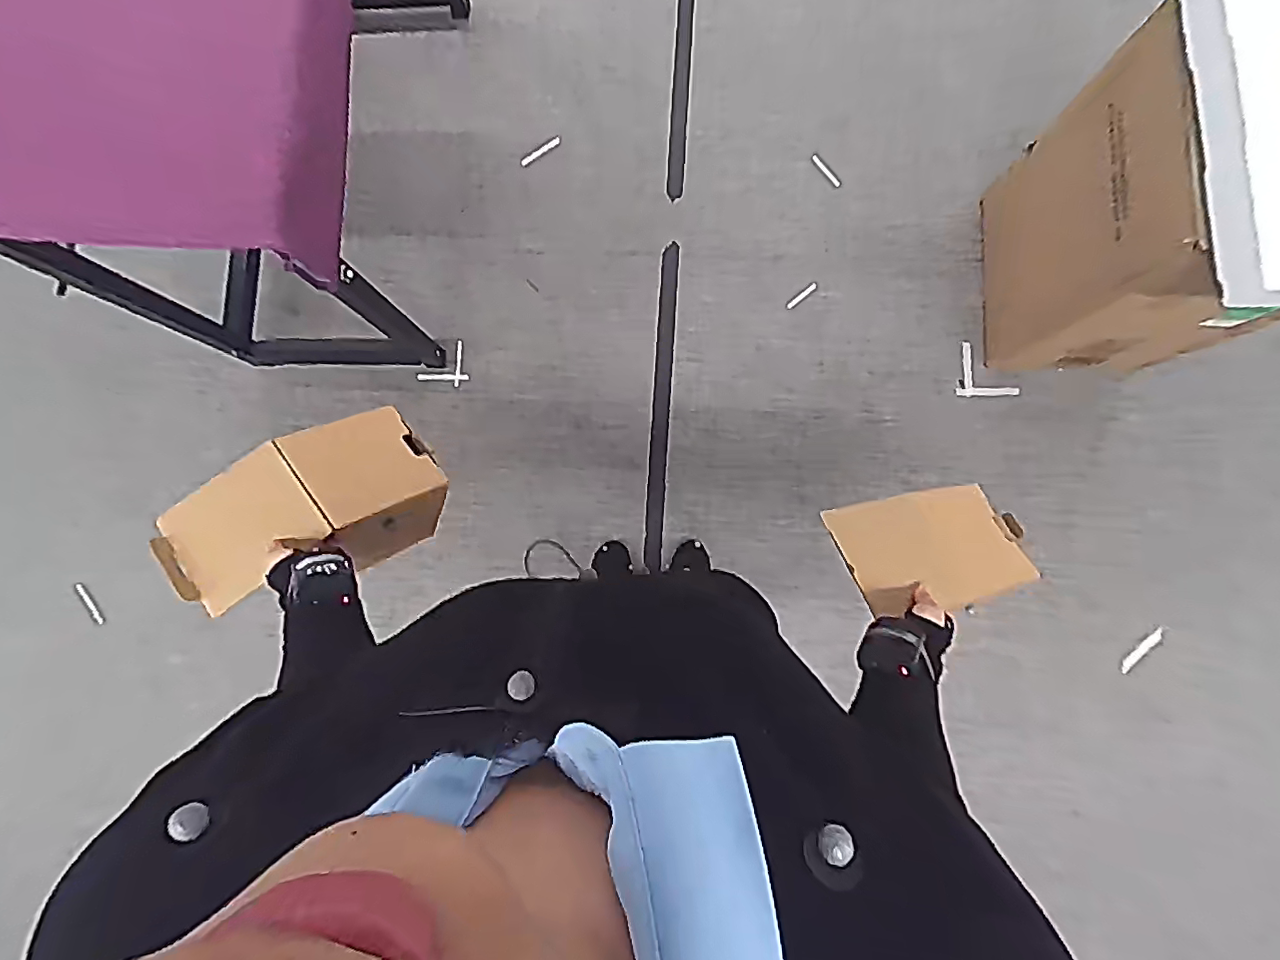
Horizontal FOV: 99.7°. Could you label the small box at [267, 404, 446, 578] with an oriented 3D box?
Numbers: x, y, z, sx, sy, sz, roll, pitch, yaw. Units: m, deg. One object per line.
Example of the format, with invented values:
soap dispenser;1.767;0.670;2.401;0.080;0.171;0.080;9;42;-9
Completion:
small box;-0.425;0.018;0.816;0.179;0.176;0.168;-30;75;-43
